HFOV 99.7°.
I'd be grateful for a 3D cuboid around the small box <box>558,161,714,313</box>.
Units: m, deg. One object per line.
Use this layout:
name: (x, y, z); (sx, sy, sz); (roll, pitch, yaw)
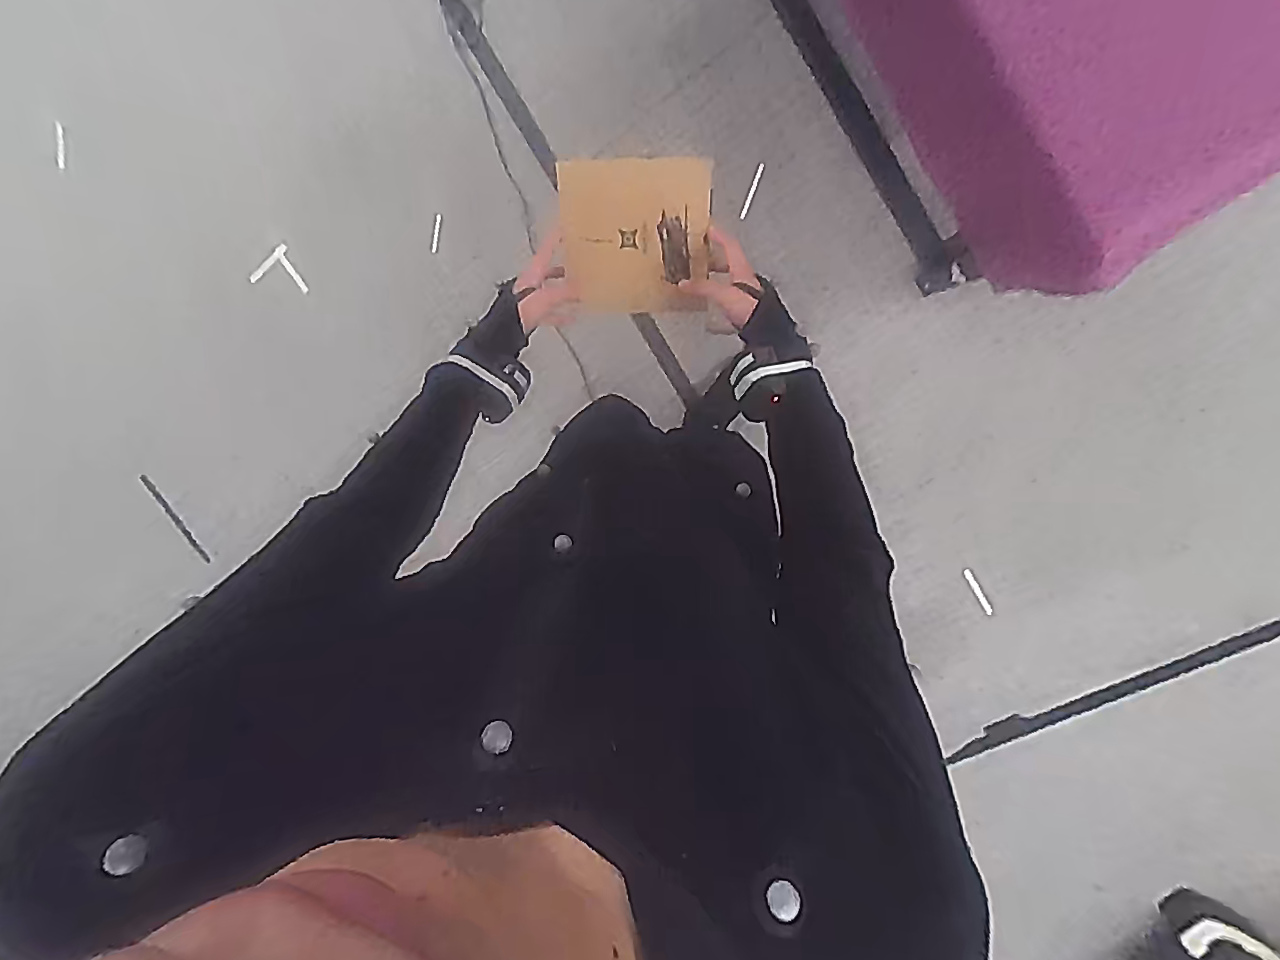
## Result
small box: (-0.002, -0.316, 0.704); (0.179, 0.176, 0.168); (0, 116, 3)
